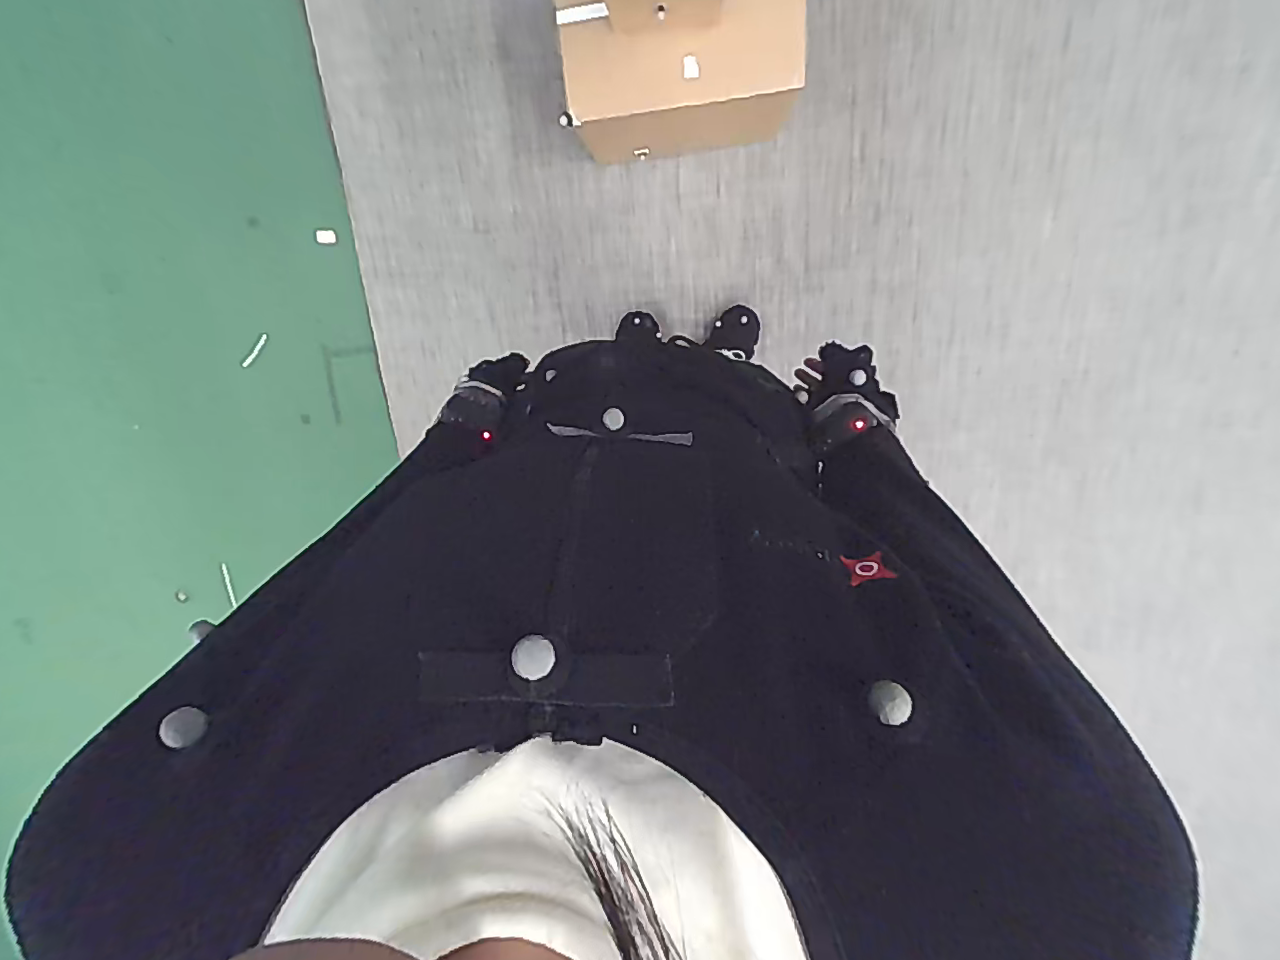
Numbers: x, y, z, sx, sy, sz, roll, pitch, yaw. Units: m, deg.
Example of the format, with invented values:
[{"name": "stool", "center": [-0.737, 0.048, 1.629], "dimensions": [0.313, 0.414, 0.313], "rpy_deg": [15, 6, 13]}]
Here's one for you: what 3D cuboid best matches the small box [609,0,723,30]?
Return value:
[{"name": "small box", "center": [0.037, -0.787, 0.781], "dimensions": [0.179, 0.176, 0.168], "rpy_deg": [-4, 114, 7]}]
